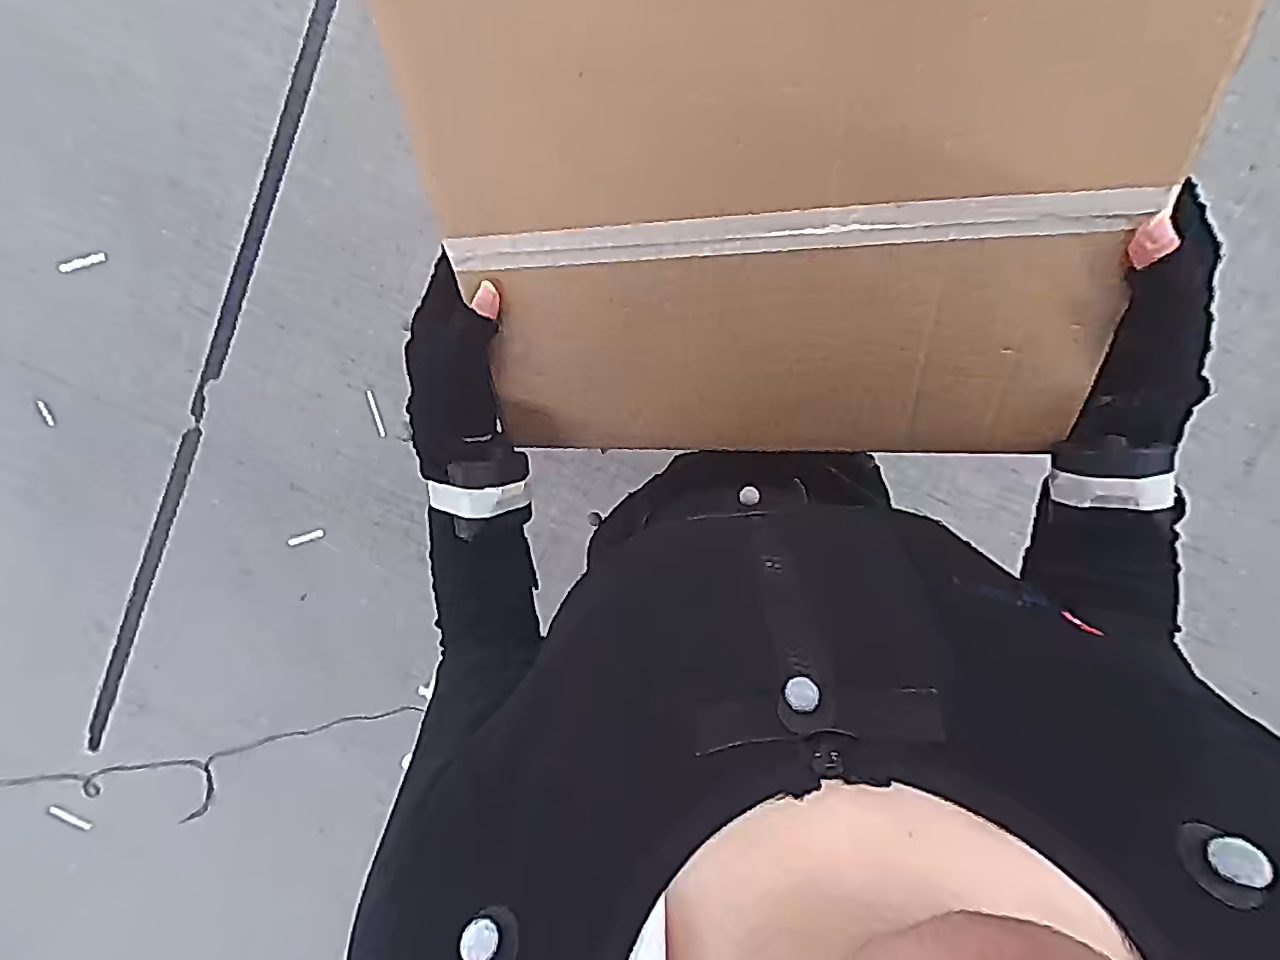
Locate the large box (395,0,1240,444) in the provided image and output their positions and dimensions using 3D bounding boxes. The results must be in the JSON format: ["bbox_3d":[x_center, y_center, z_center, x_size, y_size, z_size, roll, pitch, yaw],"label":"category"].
[{"bbox_3d":[0.100,-0.241,0.443,0.408,0.320,0.320,1,130,10],"label":"large box"}]
